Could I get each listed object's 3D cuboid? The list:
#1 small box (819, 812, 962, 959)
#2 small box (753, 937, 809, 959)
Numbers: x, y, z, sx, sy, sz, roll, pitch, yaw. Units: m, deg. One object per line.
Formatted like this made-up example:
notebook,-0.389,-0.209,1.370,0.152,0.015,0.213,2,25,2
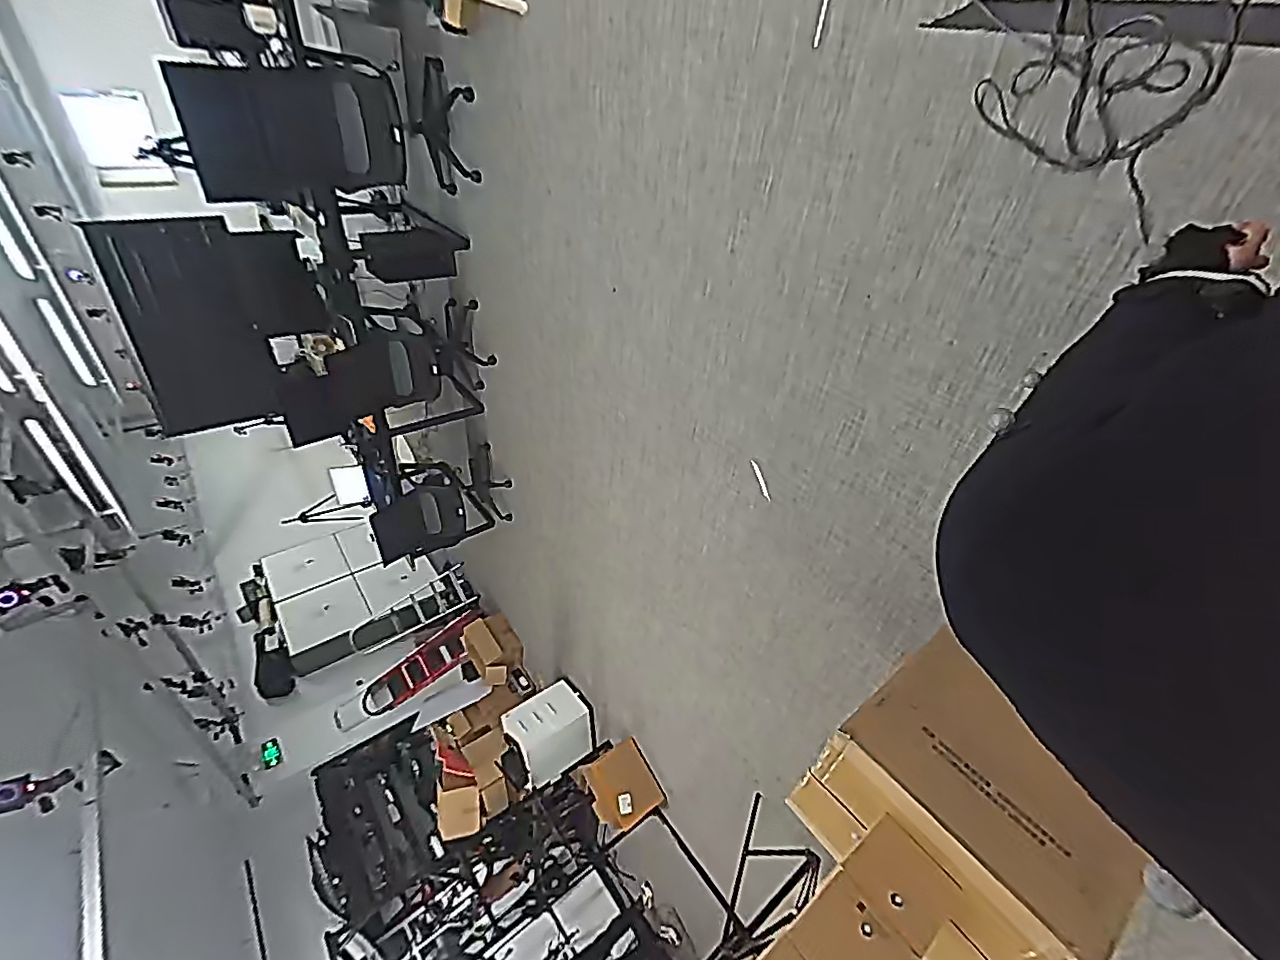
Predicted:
small box,0.500,0.820,1.084,0.179,0.176,0.168,43,140,36
small box,0.238,0.928,0.916,0.179,0.176,0.168,42,139,36
